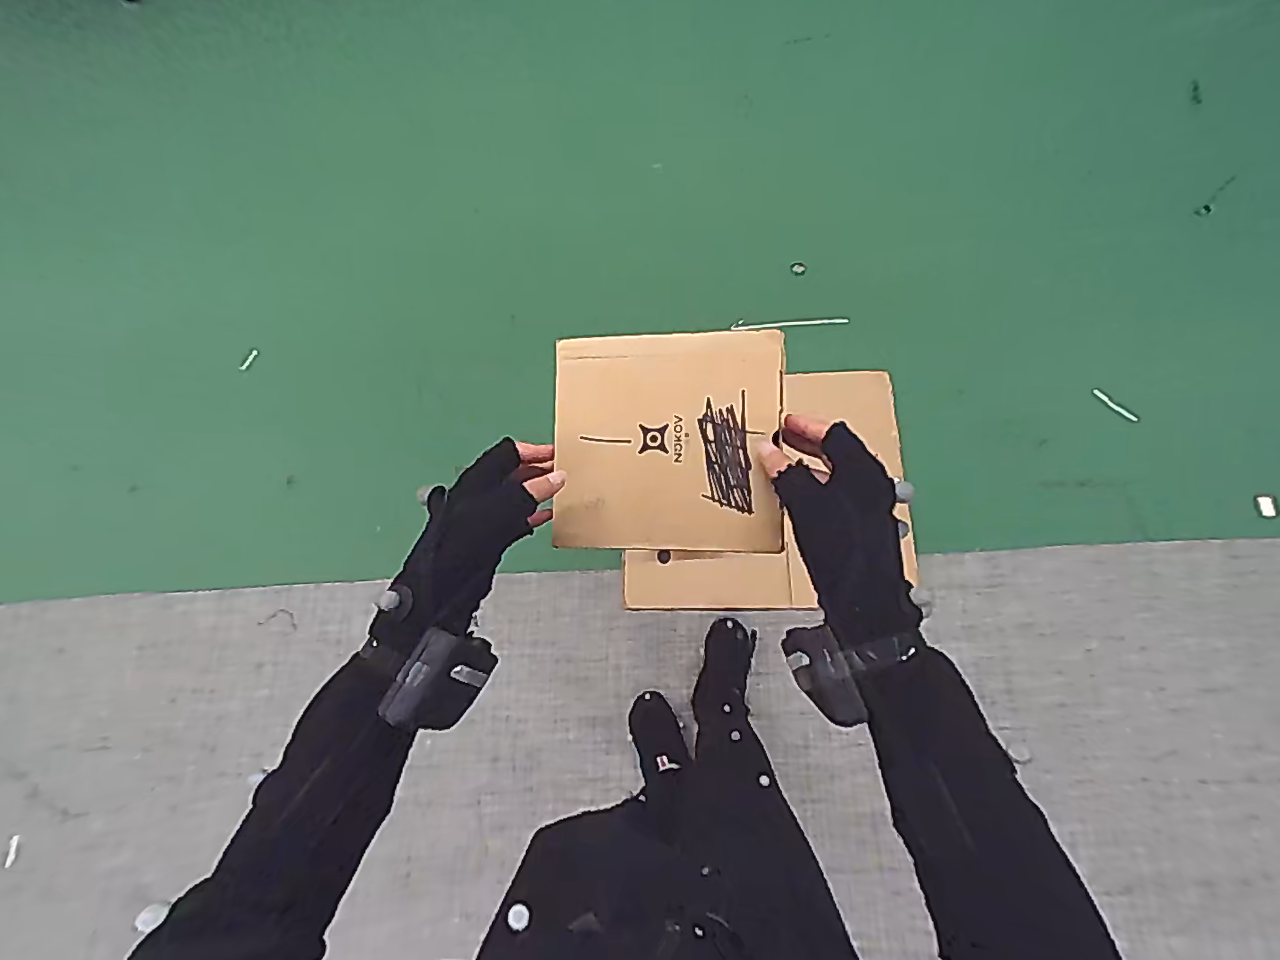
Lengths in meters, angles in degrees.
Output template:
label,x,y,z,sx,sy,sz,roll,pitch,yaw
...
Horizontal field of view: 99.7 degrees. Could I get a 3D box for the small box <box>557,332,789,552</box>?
label,x,y,z,sx,sy,sz,roll,pitch,yaw
small box,0.035,-0.025,0.488,0.179,0.176,0.168,0,85,10
